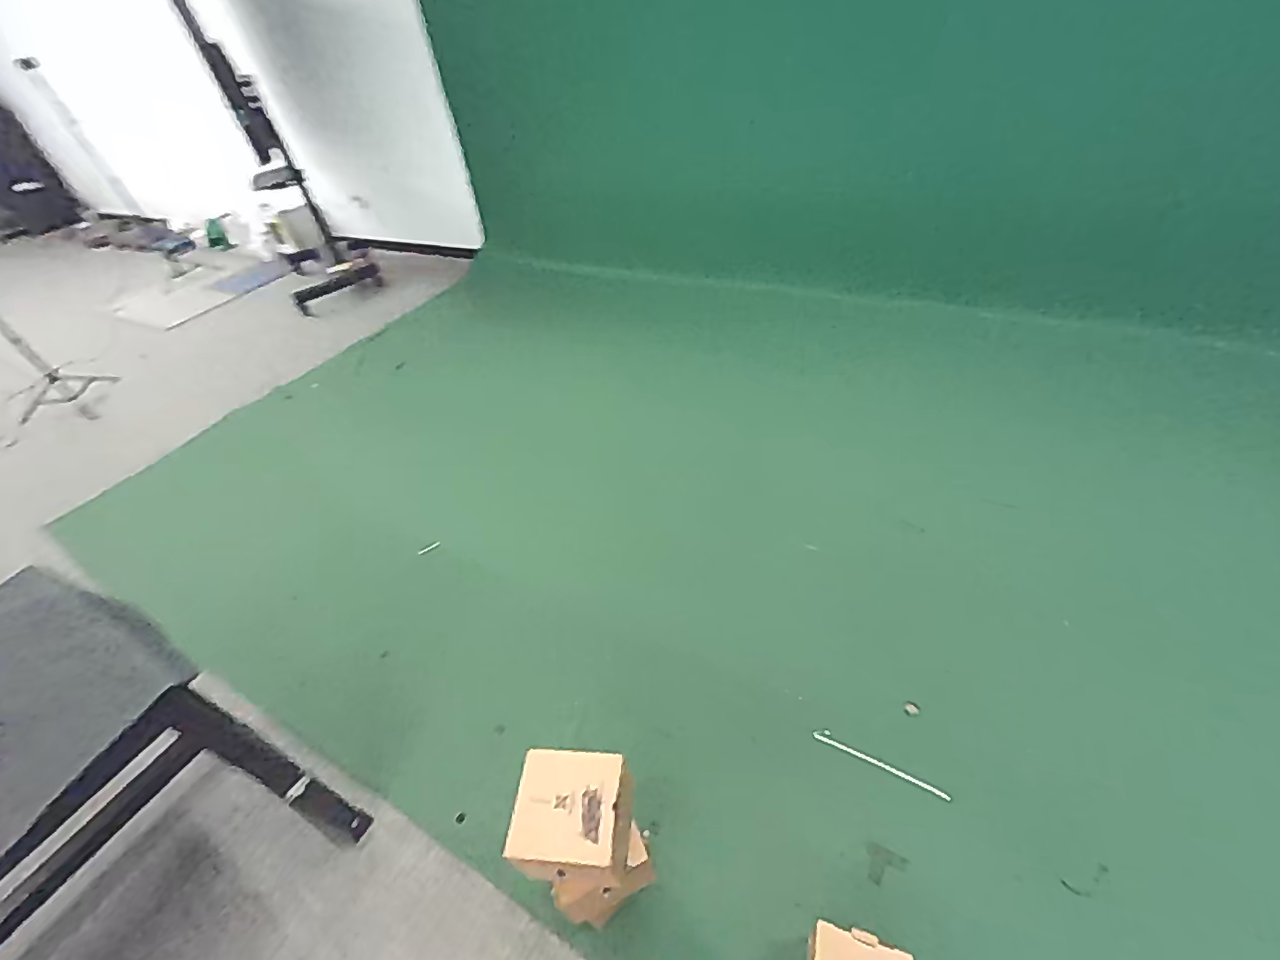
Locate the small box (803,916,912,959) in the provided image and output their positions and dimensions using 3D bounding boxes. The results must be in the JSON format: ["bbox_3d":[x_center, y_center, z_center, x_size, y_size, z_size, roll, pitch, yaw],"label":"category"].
[{"bbox_3d":[0.382,0.939,0.975,0.168,0.176,0.179,10,45,18],"label":"small box"}]

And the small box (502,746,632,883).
[{"bbox_3d":[-0.114,0.588,0.949,0.179,0.176,0.168,0,45,10],"label":"small box"}]

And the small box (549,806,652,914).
[{"bbox_3d":[-0.088,0.709,1.058,0.179,0.176,0.168,-20,46,-13],"label":"small box"}]
